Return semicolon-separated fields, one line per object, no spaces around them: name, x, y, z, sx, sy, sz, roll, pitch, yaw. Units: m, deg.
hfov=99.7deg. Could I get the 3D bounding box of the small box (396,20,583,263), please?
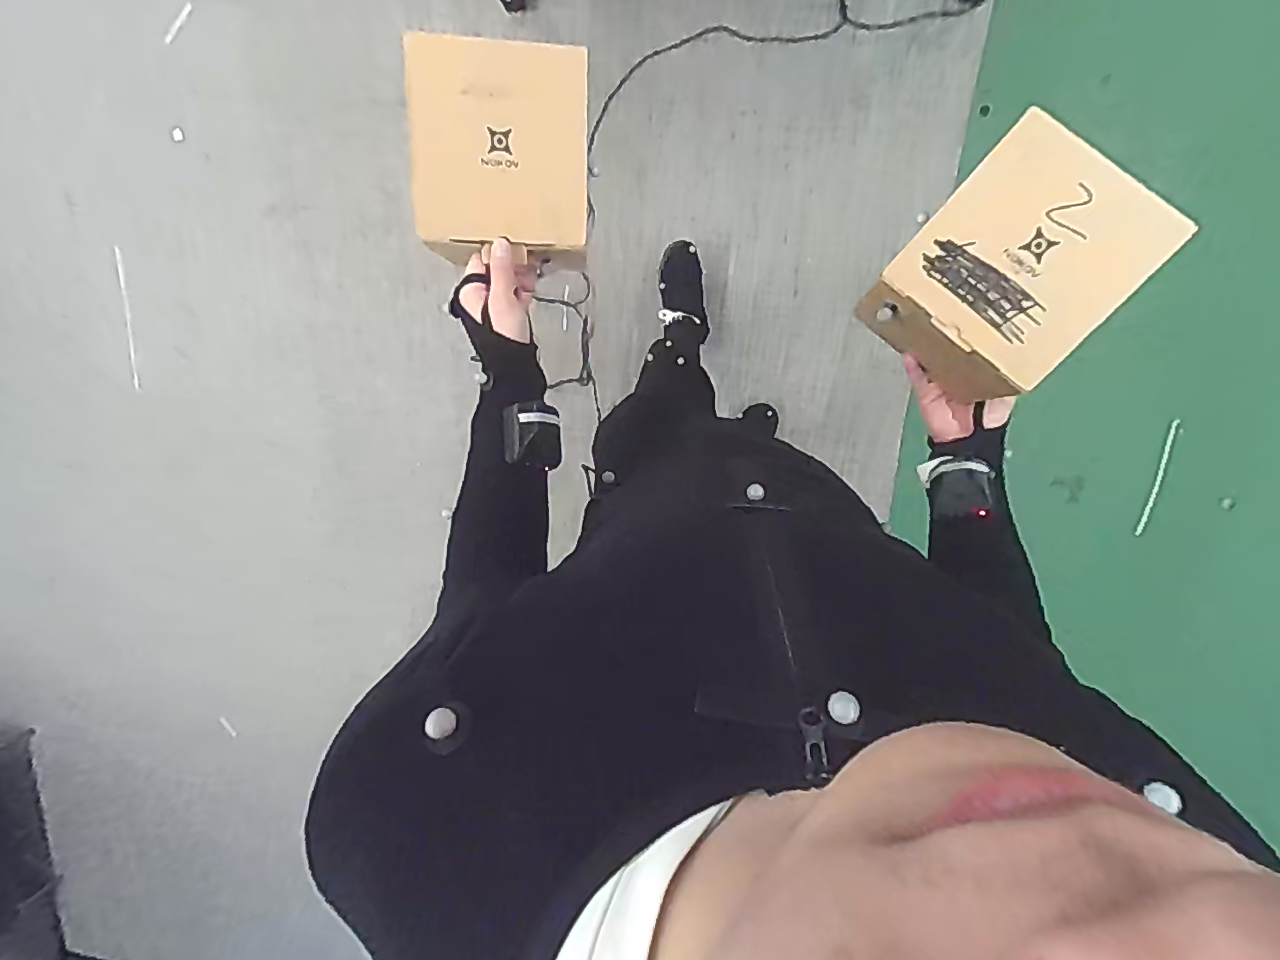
small box;-0.147;-0.340;0.582;0.168;0.176;0.179;1;103;-7
